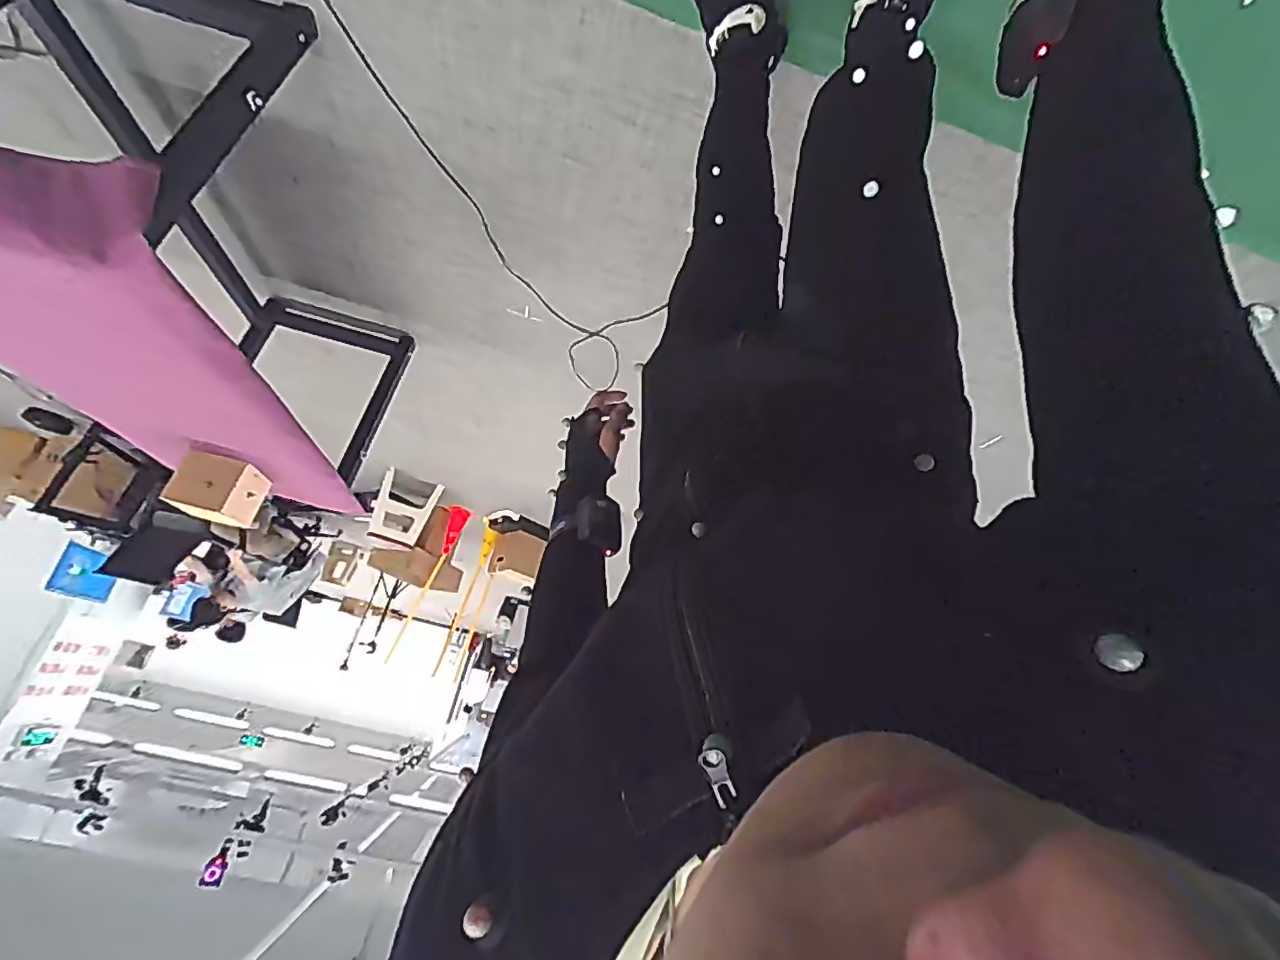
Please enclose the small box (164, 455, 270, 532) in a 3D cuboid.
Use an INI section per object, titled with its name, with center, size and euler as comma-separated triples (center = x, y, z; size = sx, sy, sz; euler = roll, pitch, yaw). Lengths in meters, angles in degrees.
[small box]
center = -1.272, 0.041, 1.647
size = 0.179, 0.176, 0.168
euler = 14, 155, -4
